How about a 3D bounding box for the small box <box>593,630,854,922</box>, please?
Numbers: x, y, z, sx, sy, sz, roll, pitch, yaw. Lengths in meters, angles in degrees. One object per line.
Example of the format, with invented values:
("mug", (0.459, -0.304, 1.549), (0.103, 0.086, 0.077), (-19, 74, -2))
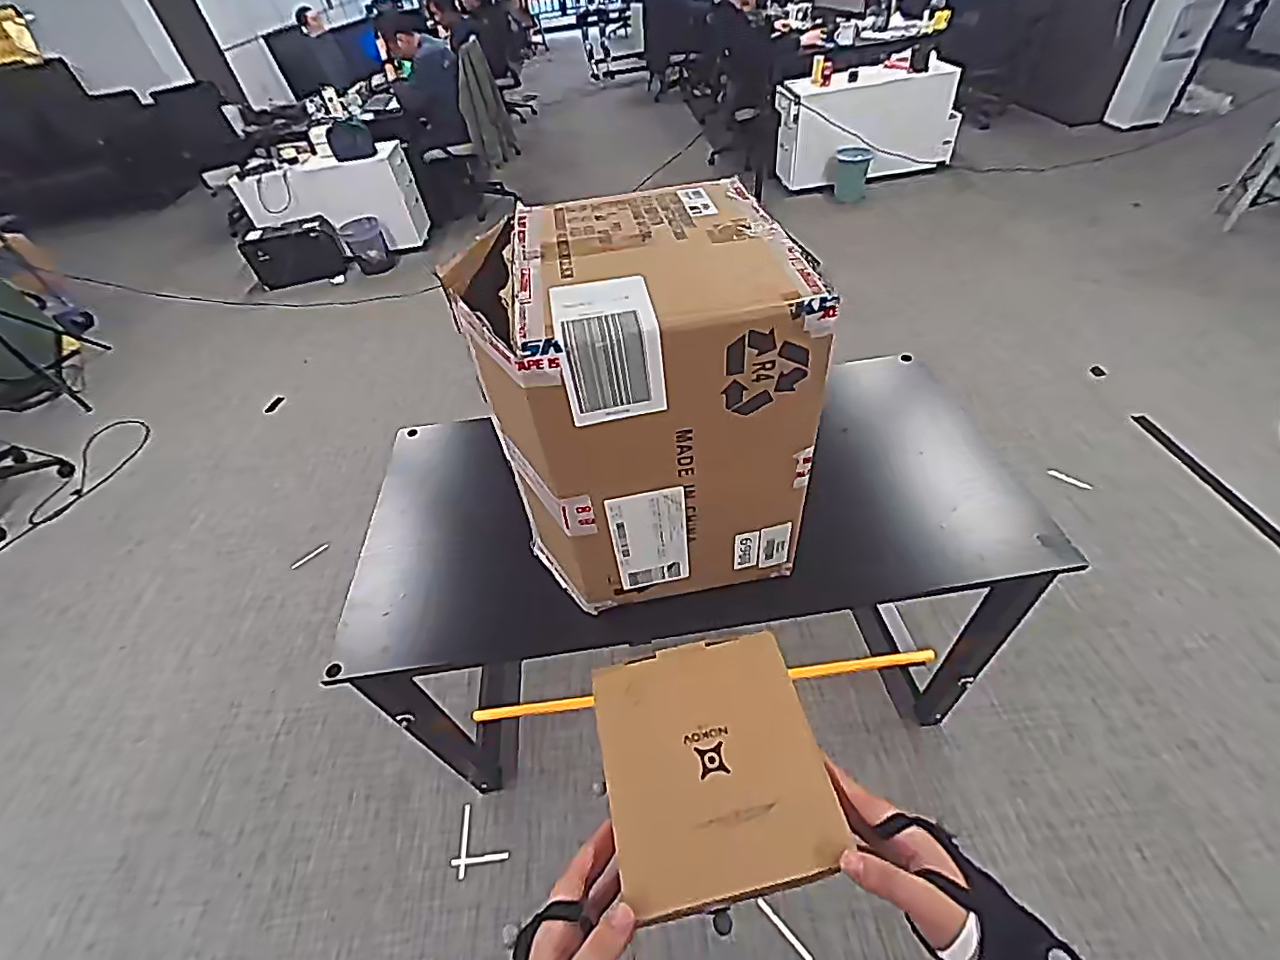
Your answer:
("small box", (0.056, 0.262, 0.479), (0.168, 0.176, 0.179), (-11, 50, -5))
